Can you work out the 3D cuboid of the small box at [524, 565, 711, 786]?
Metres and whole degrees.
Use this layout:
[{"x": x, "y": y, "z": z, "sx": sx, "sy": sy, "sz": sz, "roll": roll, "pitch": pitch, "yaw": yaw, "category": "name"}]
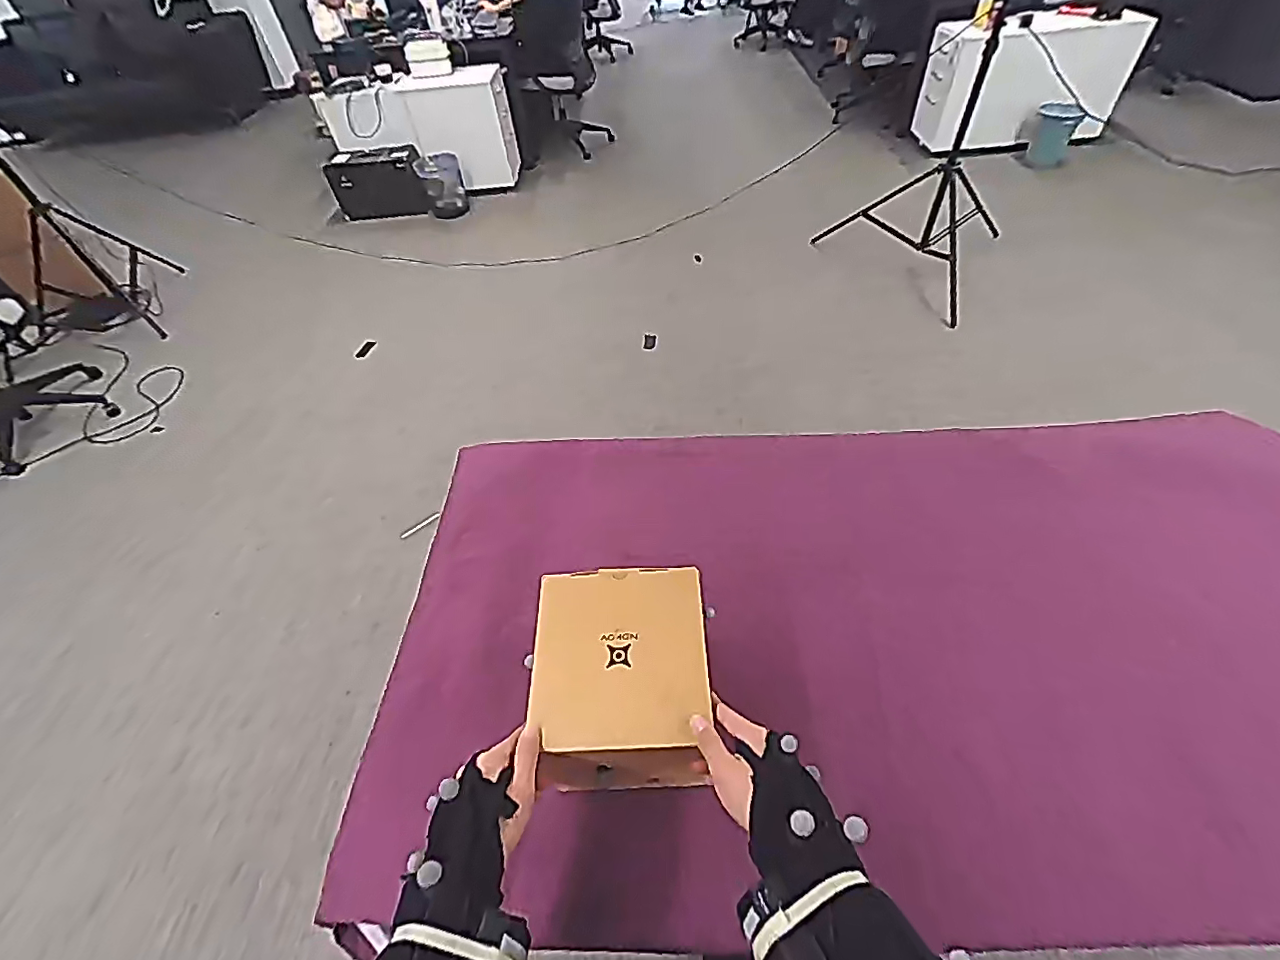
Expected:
[{"x": -0.014, "y": 0.212, "z": 0.572, "sx": 0.168, "sy": 0.176, "sz": 0.179, "roll": -4, "pitch": 49, "yaw": 3, "category": "small box"}]
